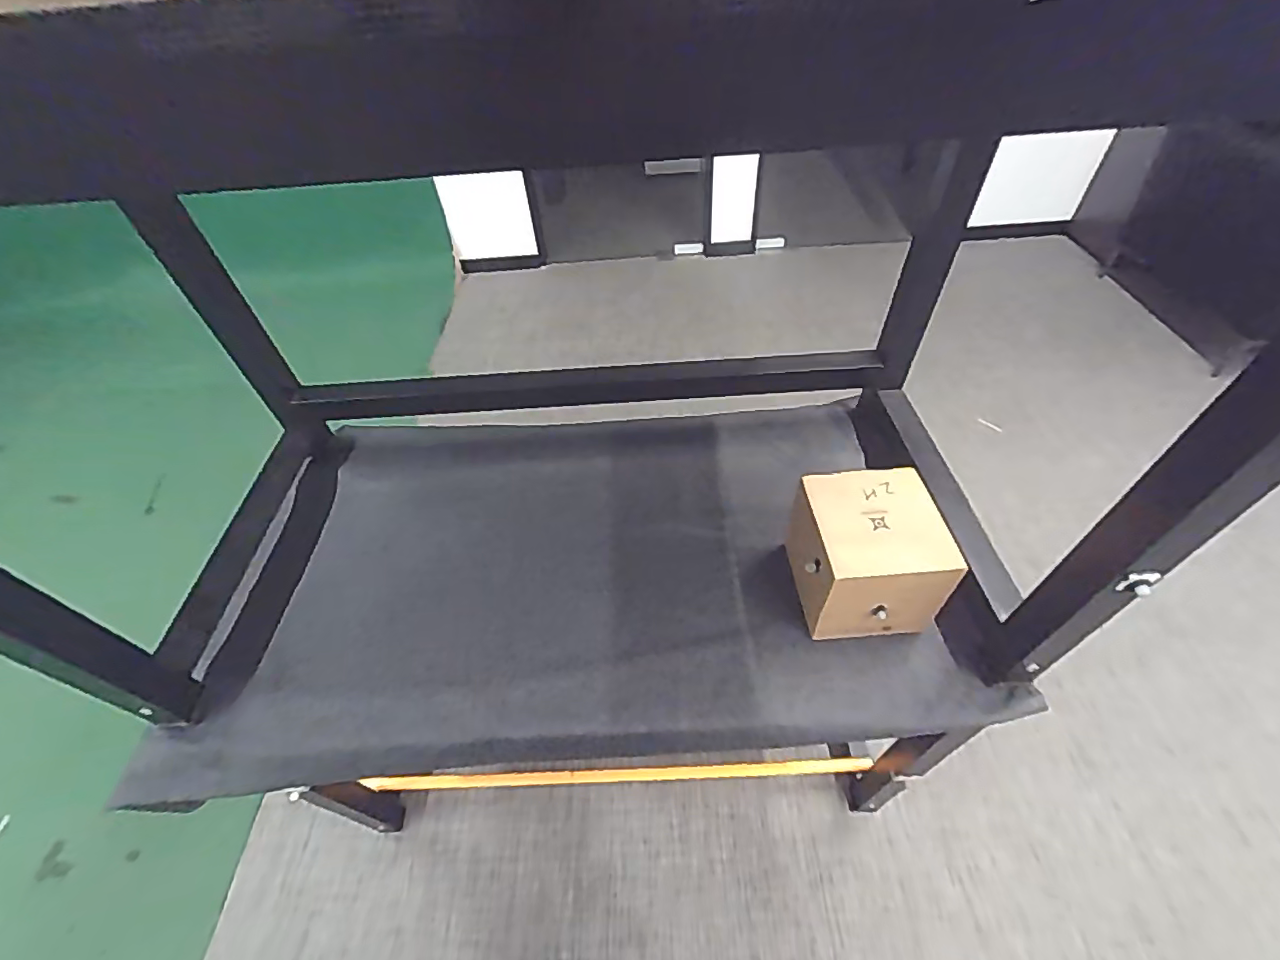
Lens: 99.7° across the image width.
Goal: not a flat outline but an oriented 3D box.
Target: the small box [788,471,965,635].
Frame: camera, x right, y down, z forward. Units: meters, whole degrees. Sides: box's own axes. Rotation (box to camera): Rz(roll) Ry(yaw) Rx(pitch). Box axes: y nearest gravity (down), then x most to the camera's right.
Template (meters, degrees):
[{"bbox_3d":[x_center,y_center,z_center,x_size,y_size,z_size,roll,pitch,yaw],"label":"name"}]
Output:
[{"bbox_3d":[0.323,0.111,0.781,0.168,0.176,0.179,-4,47,0],"label":"small box"}]
